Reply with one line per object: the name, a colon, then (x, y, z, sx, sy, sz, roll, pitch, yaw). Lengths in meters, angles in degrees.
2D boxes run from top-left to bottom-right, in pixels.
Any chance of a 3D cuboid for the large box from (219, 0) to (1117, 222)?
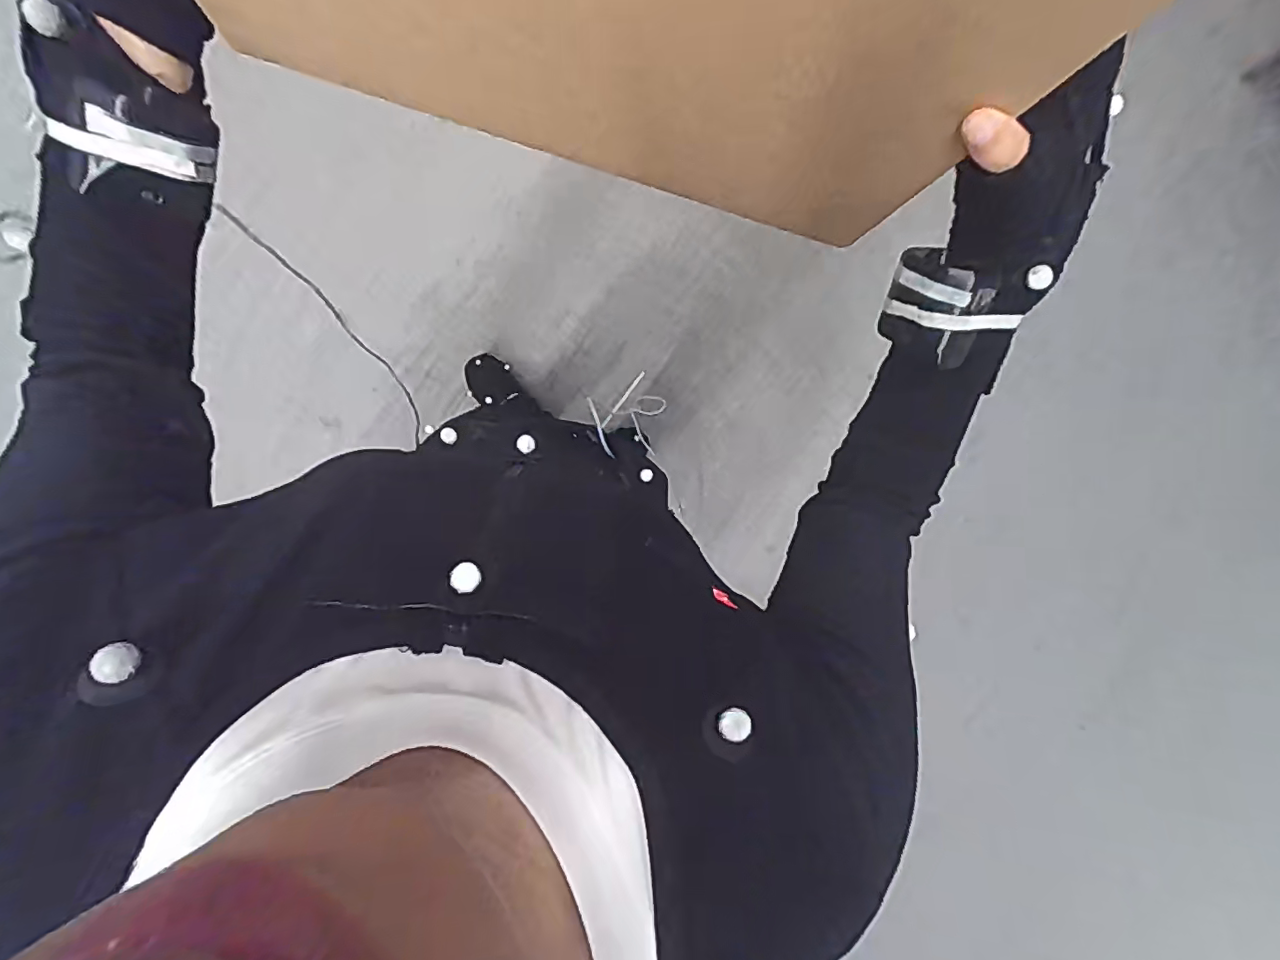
large box: (0.012, -0.363, 0.206, 0.408, 0.320, 0.320, 13, 90, -10)
